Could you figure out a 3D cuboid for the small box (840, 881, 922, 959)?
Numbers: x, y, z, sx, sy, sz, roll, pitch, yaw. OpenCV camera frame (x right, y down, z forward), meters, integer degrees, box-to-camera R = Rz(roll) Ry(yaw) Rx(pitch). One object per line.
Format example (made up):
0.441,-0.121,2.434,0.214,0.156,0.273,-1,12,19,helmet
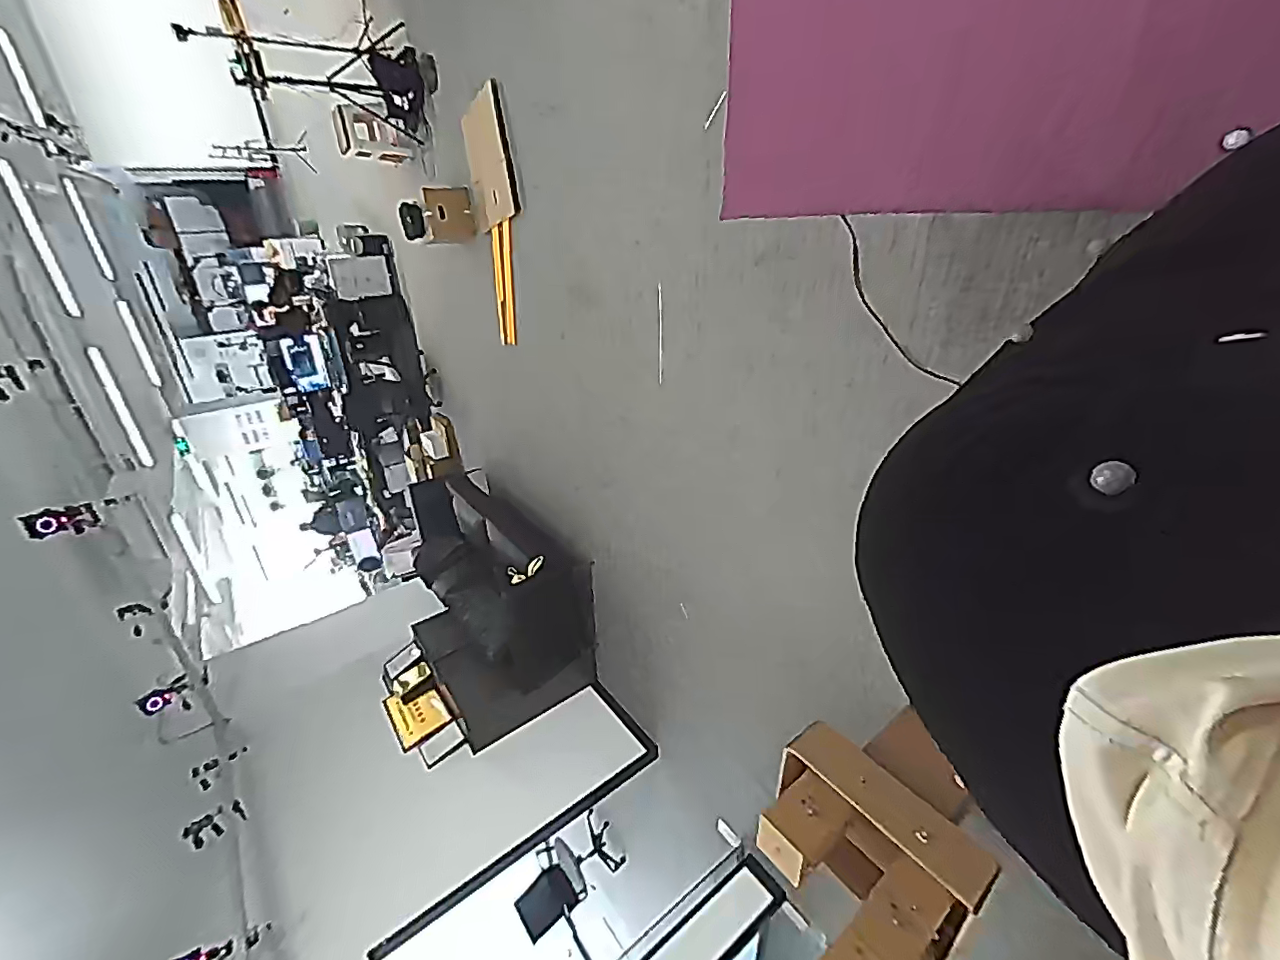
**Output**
0.676,1.317,1.554,0.168,0.176,0.179,34,133,41,small box

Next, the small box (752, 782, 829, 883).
0.480,1.120,1.727,0.168,0.176,0.179,29,130,44,small box

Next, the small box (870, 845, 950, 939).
0.806,1.268,1.642,0.168,0.176,0.179,33,133,43,small box

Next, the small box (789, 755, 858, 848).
0.608,1.072,1.817,0.168,0.176,0.179,31,132,44,small box

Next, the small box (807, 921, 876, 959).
0.547,1.364,1.469,0.168,0.176,0.179,35,134,41,small box
